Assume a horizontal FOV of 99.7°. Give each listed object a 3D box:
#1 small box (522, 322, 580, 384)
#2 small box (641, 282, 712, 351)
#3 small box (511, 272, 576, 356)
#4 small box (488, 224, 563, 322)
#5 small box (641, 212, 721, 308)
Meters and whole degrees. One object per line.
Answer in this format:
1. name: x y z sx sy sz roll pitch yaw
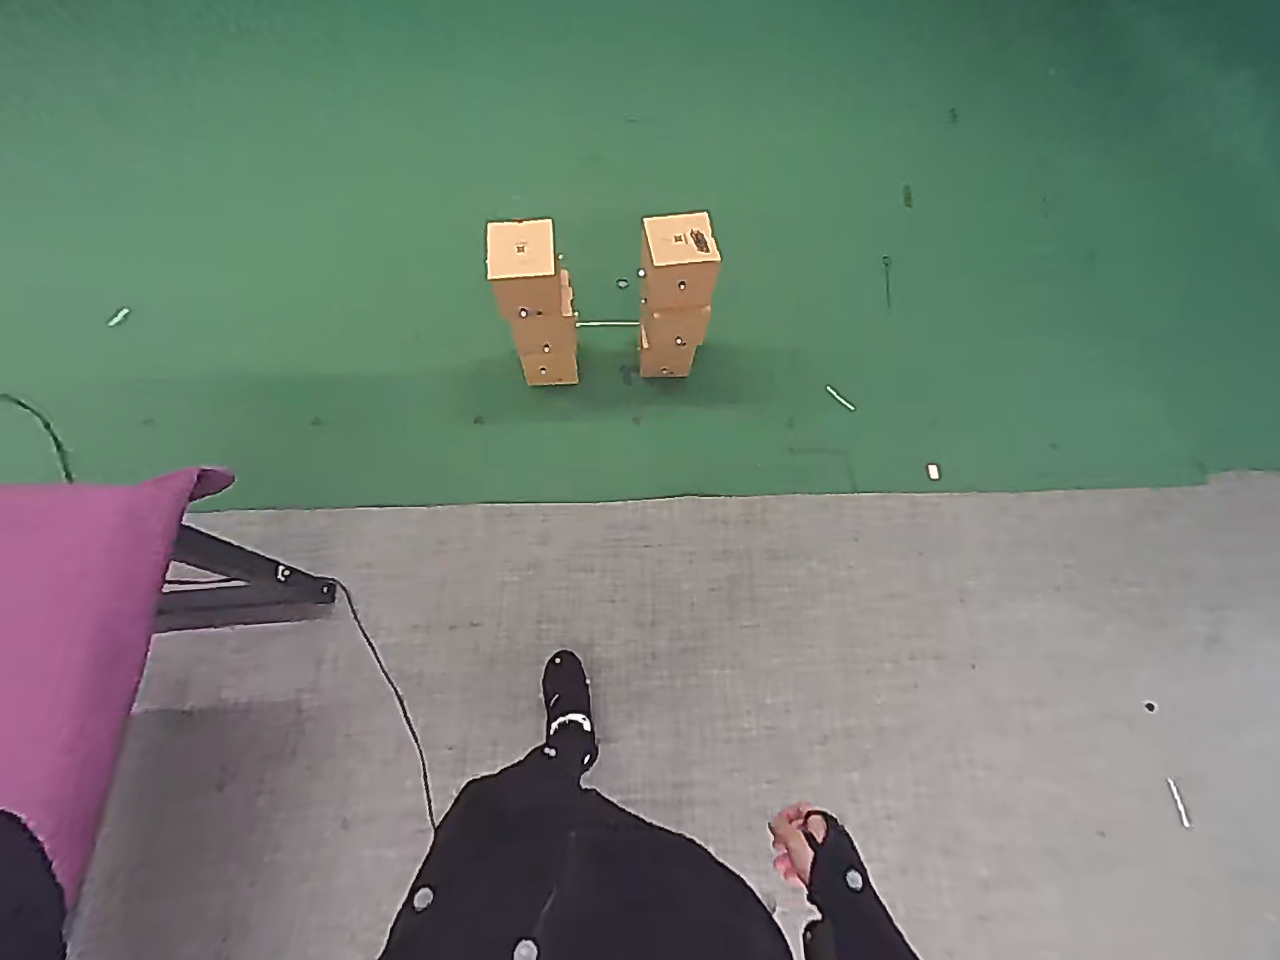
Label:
1. small box: -0.280 -0.418 1.727 0.168 0.176 0.179 -4 68 -3
2. small box: 0.101 -0.510 1.602 0.168 0.176 0.179 -11 70 -6
3. small box: -0.279 -0.480 1.575 0.179 0.176 0.168 -6 68 -5
4. small box: -0.296 -0.542 1.423 0.168 0.176 0.179 -5 68 -2
5. small box: 0.103 -0.588 1.455 0.179 0.176 0.168 -9 69 -5
